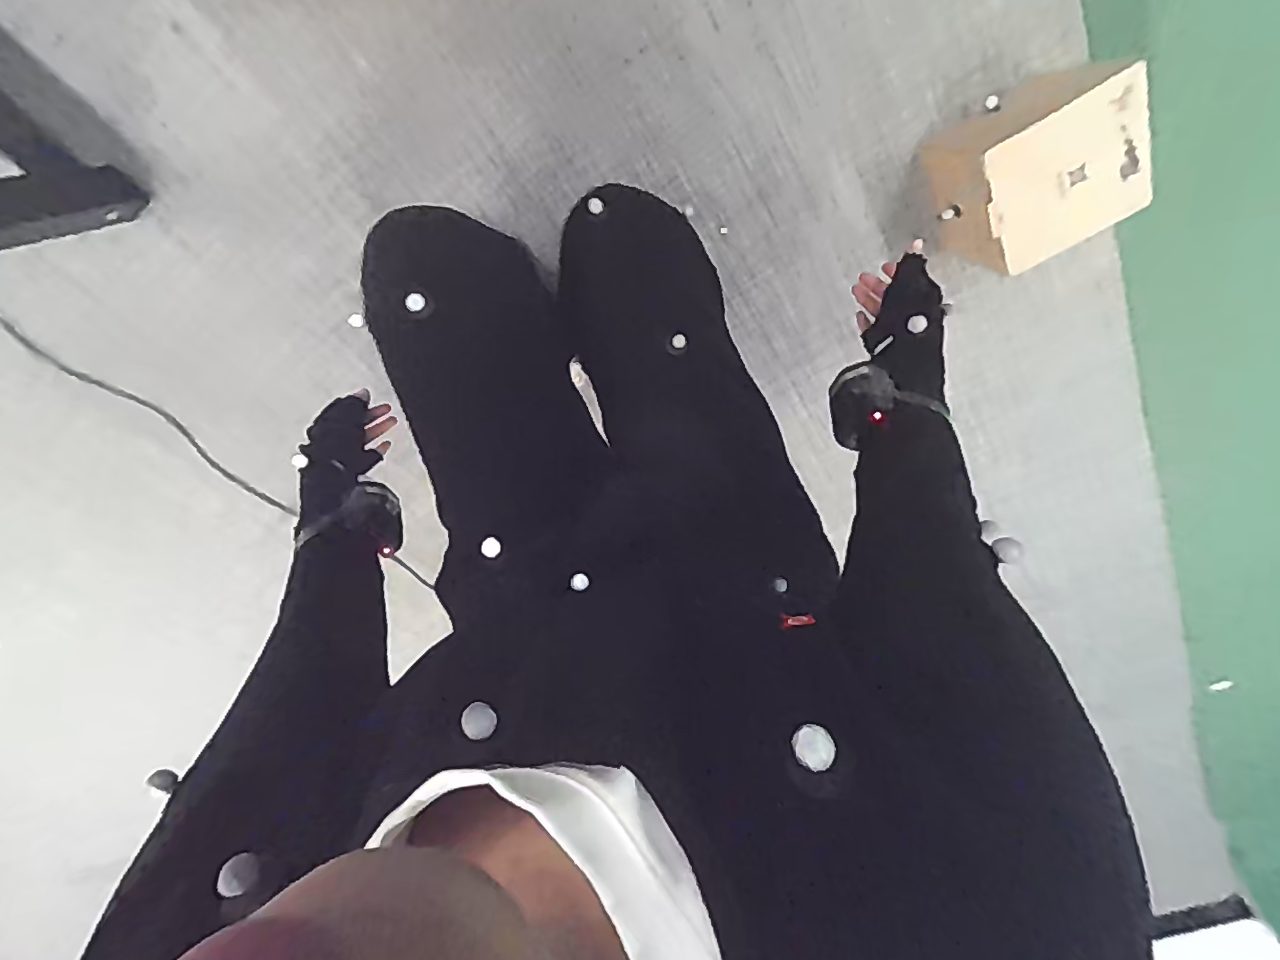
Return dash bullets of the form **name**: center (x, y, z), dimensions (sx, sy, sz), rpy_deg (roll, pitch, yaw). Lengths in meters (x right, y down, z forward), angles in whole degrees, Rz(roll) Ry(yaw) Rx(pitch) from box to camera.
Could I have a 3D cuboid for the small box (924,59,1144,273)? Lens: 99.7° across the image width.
- **small box**: center (0.502, -0.407, 0.712), dimensions (0.179, 0.176, 0.168), rpy_deg (-26, 121, 15)
